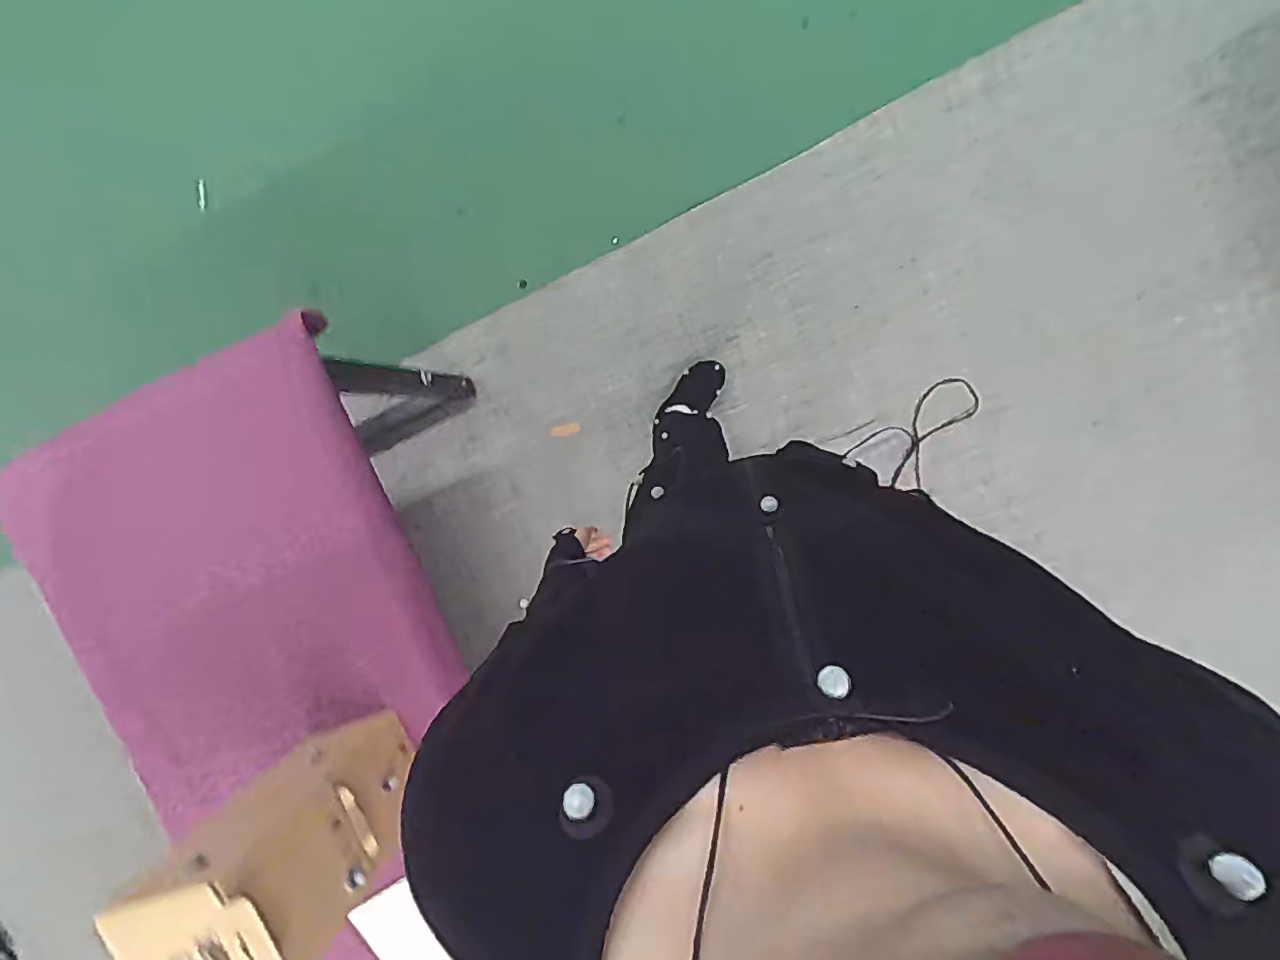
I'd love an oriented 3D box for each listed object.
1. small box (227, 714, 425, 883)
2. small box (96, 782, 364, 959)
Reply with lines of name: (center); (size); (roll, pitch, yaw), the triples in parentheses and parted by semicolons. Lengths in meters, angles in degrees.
small box: (-0.455, 0.488, 0.820); (0.179, 0.176, 0.168); (-22, 93, 9)
small box: (-0.471, 0.505, 0.656); (0.179, 0.176, 0.168); (-22, 93, 11)
